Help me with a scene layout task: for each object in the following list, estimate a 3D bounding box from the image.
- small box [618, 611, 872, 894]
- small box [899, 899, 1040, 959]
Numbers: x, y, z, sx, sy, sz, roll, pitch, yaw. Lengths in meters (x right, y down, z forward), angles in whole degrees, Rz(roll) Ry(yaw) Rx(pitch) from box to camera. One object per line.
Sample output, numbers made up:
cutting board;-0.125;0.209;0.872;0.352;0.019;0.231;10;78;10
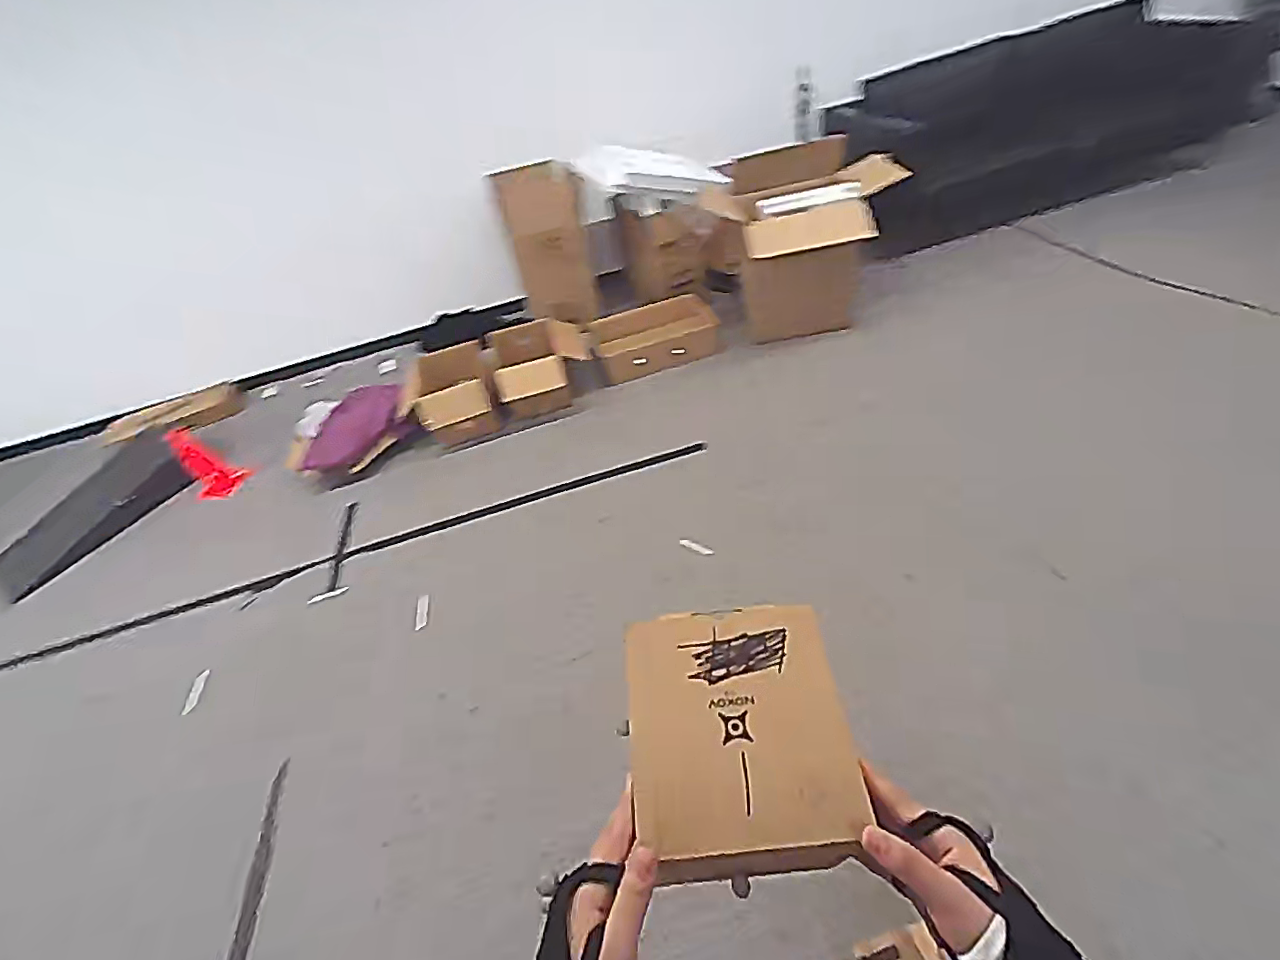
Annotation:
small box;0.072;0.240;0.476;0.168;0.176;0.179;-7;49;-1
small box;0.571;0.847;0.916;0.179;0.176;0.168;-17;43;-3
